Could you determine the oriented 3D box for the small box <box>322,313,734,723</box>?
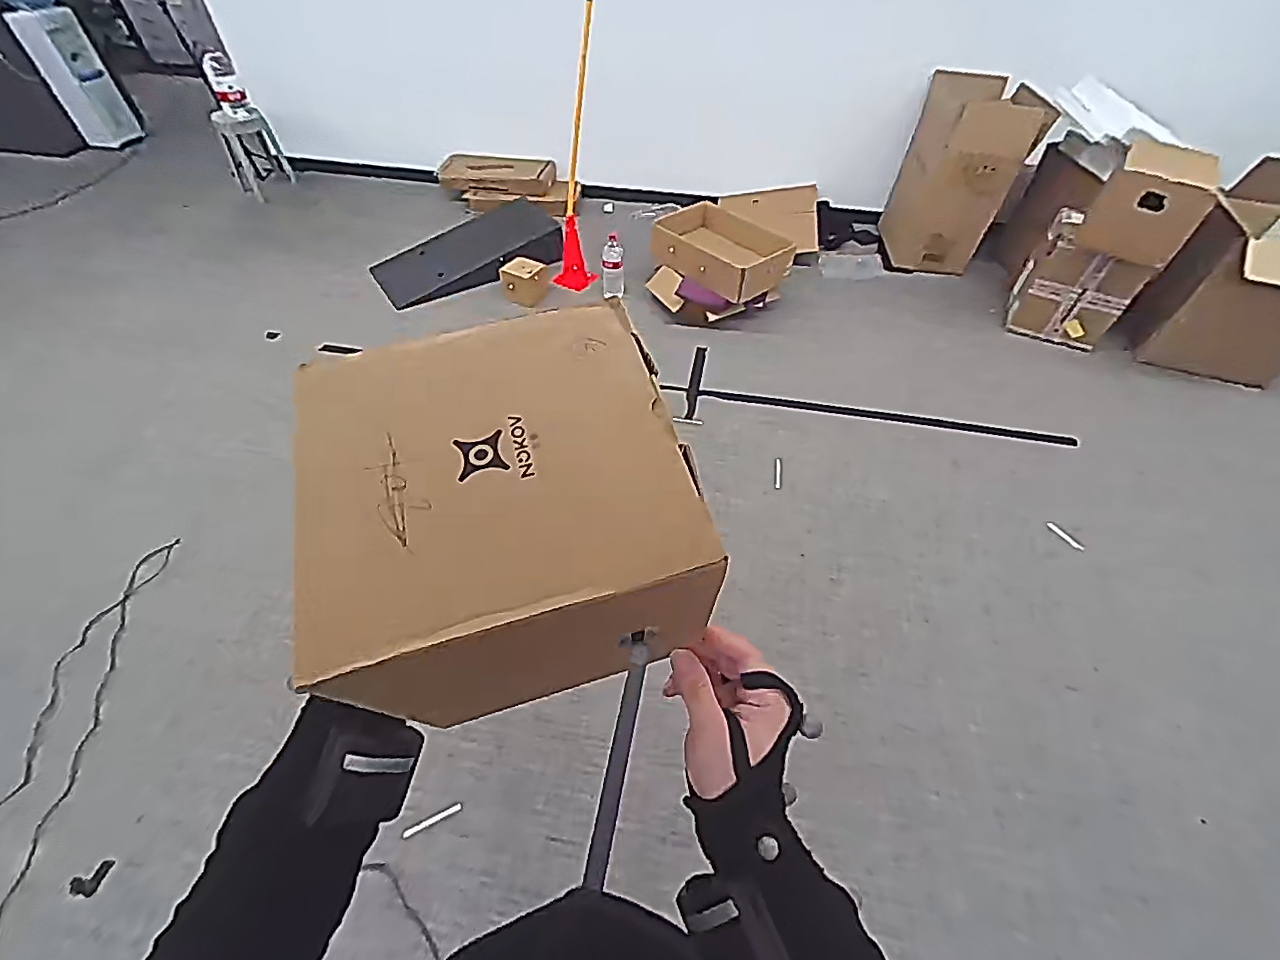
[{"bbox_3d":[-0.063,0.033,0.332,0.179,0.176,0.168,-16,60,-8],"label":"small box"}]
